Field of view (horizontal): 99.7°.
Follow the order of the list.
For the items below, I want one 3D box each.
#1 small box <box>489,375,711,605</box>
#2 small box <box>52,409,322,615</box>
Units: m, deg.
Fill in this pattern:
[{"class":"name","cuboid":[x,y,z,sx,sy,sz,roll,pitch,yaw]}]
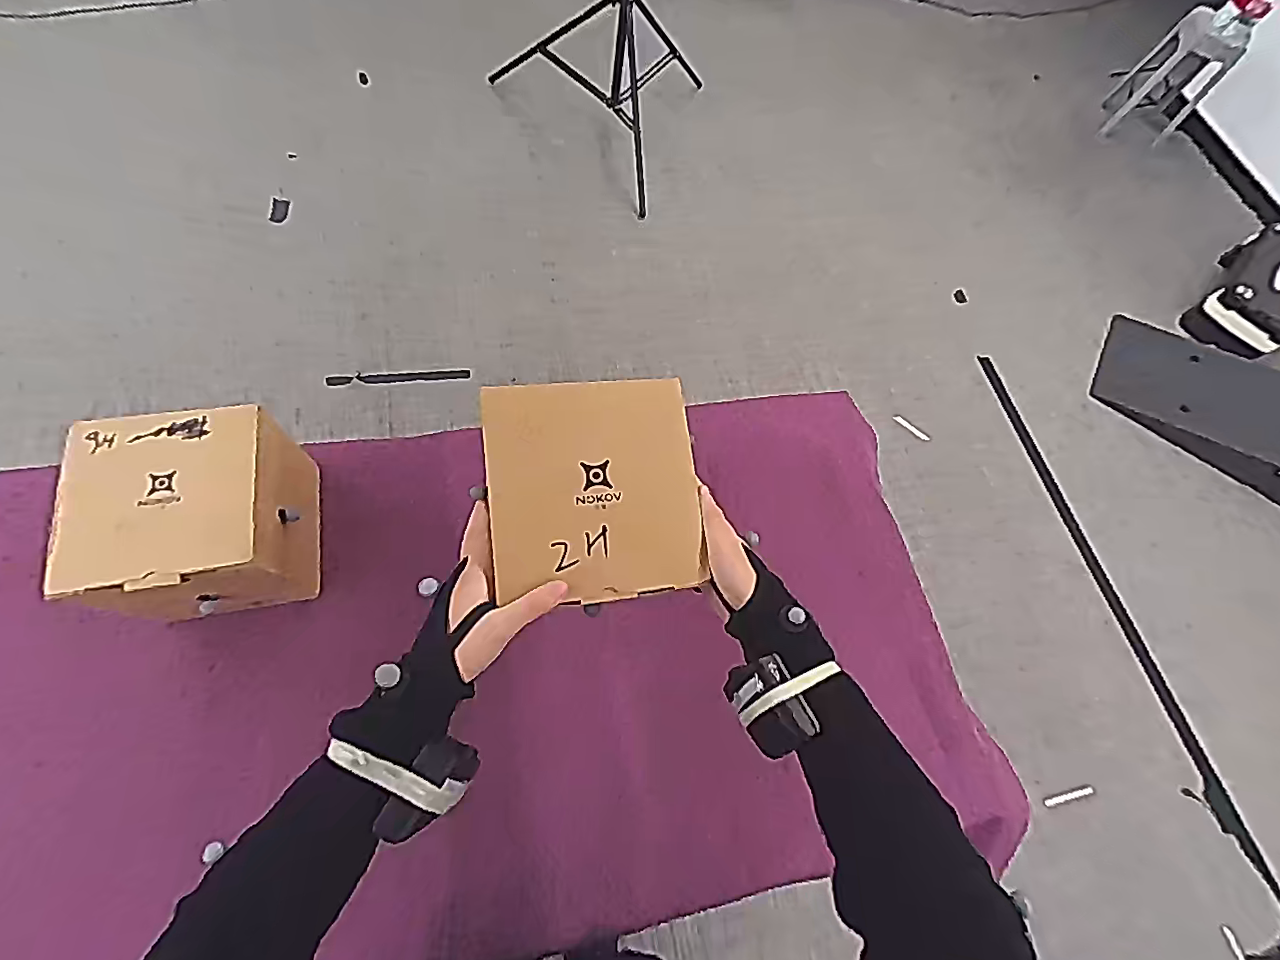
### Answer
[{"class":"small box","cuboid":[-0.049,0.018,0.504,0.168,0.176,0.179,-5,78,-13]},{"class":"small box","cuboid":[-0.466,0.045,0.591,0.168,0.176,0.179,-8,70,-13]}]
